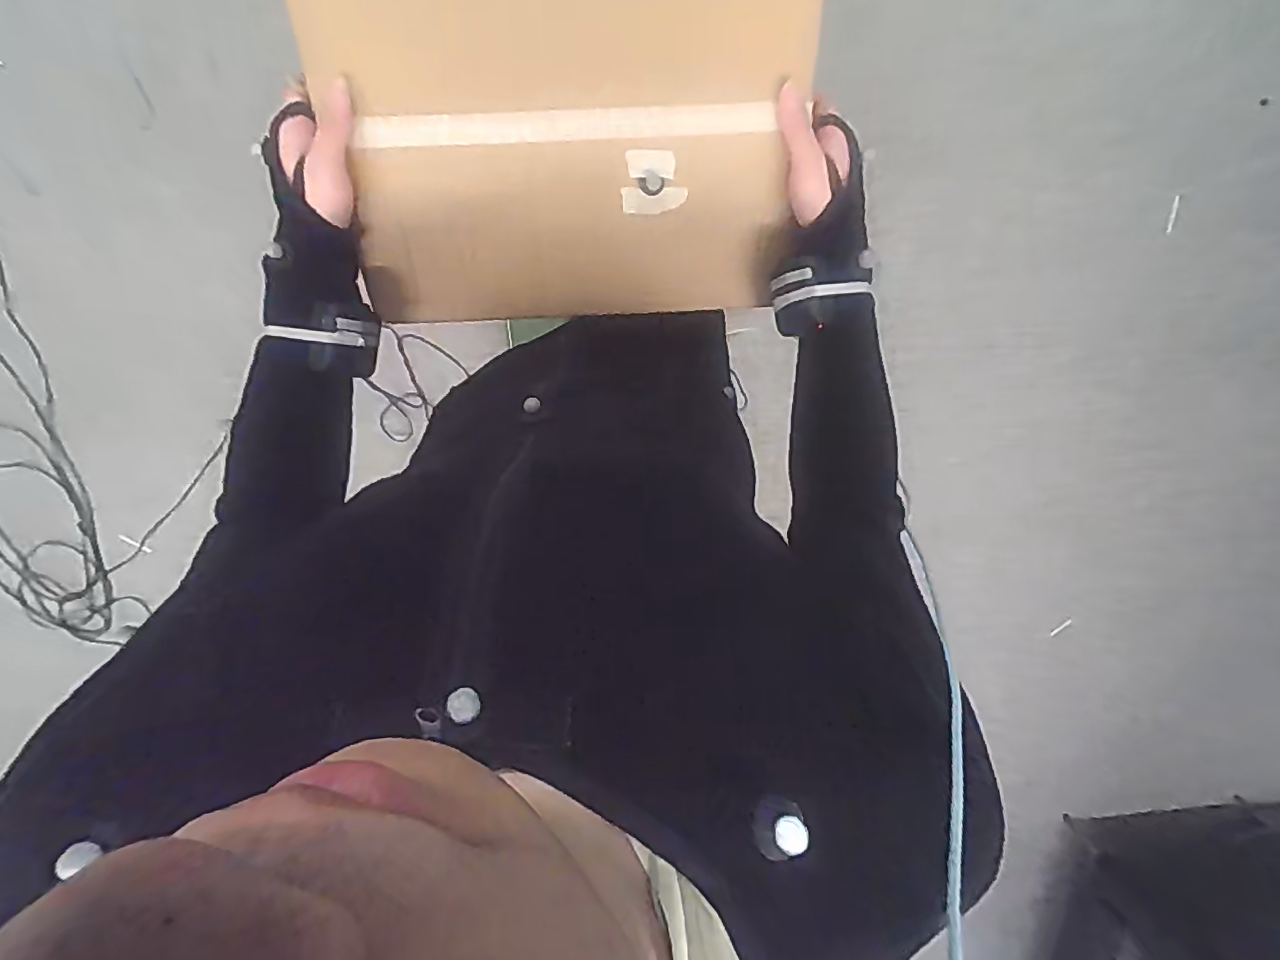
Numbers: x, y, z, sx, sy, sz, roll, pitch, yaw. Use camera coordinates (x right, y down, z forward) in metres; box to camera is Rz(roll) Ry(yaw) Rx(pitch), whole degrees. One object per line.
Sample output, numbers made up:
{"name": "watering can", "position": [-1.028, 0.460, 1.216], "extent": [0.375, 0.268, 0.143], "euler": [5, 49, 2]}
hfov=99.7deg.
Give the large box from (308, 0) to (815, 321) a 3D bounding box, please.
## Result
{"name": "large box", "position": [-0.065, -0.375, 0.593], "extent": [0.408, 0.320, 0.320], "euler": [-4, 120, -3]}
